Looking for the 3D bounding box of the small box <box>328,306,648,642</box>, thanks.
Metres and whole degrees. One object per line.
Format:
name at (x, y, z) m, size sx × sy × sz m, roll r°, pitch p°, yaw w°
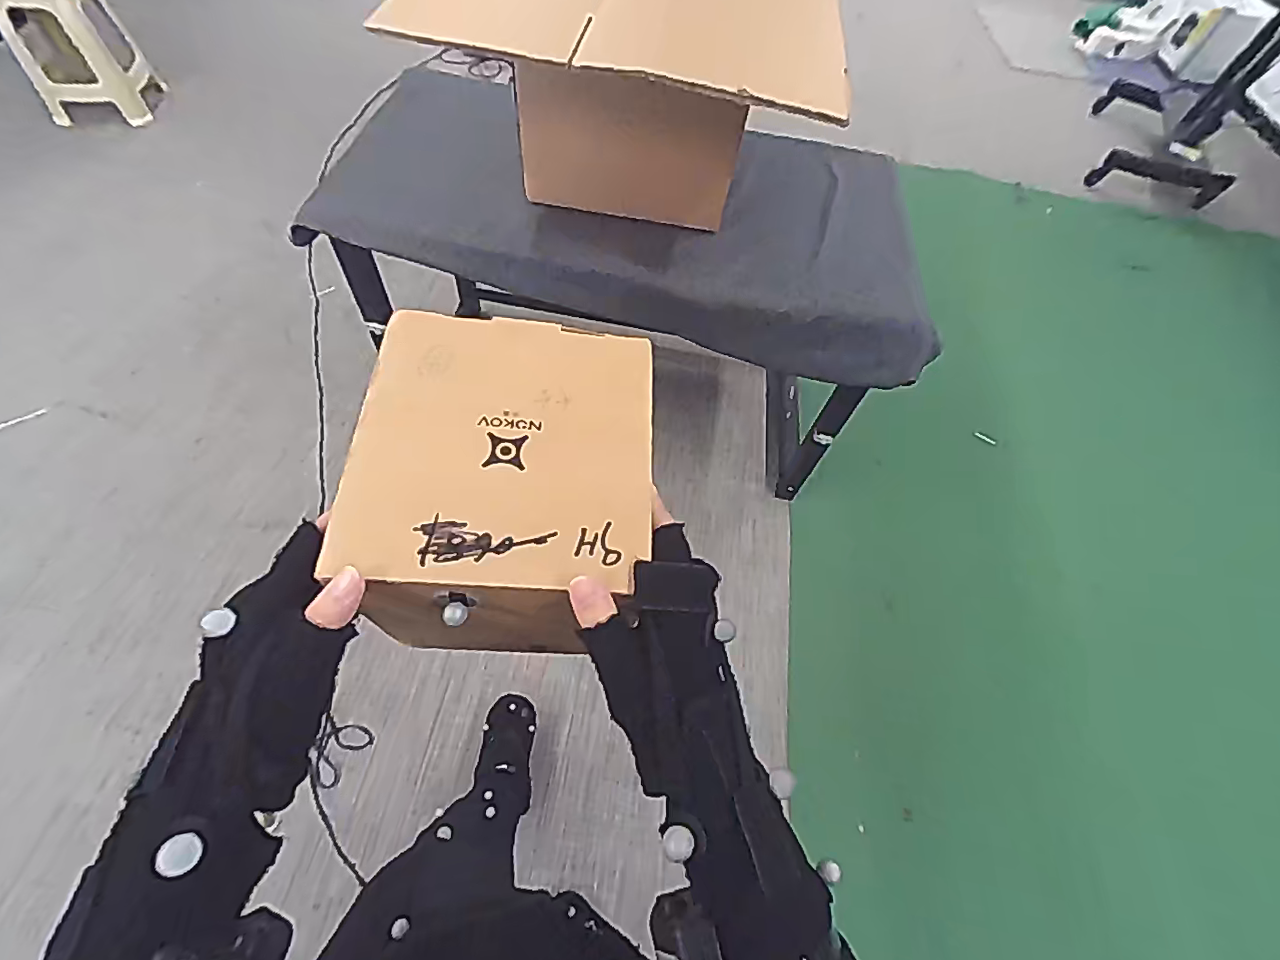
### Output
small box at (-0.088, 0.006, 0.392) m, size 0.168 × 0.176 × 0.179 m, roll 4°, pitch 60°, yaw -6°
